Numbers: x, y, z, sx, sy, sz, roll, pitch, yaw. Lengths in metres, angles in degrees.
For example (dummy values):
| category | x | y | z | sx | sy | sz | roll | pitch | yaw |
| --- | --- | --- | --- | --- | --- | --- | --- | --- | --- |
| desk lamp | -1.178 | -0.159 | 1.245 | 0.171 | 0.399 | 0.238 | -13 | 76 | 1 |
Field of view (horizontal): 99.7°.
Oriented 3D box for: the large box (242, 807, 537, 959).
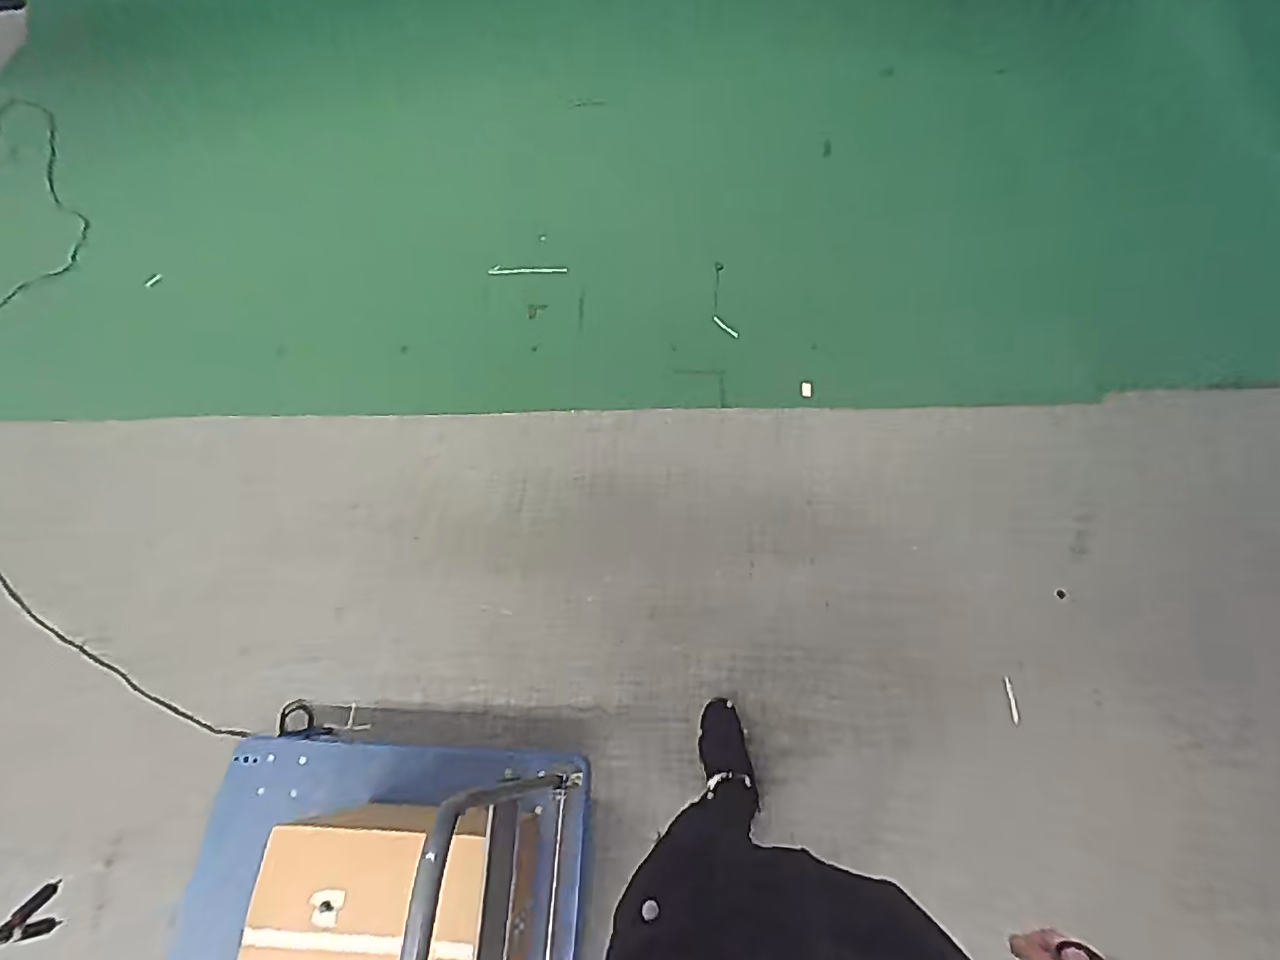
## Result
| category | x | y | z | sx | sy | sz | roll | pitch | yaw |
| --- | --- | --- | --- | --- | --- | --- | --- | --- | --- |
| large box | -0.435 | 0.813 | 1.010 | 0.408 | 0.320 | 0.320 | -1 | 65 | 6 |
